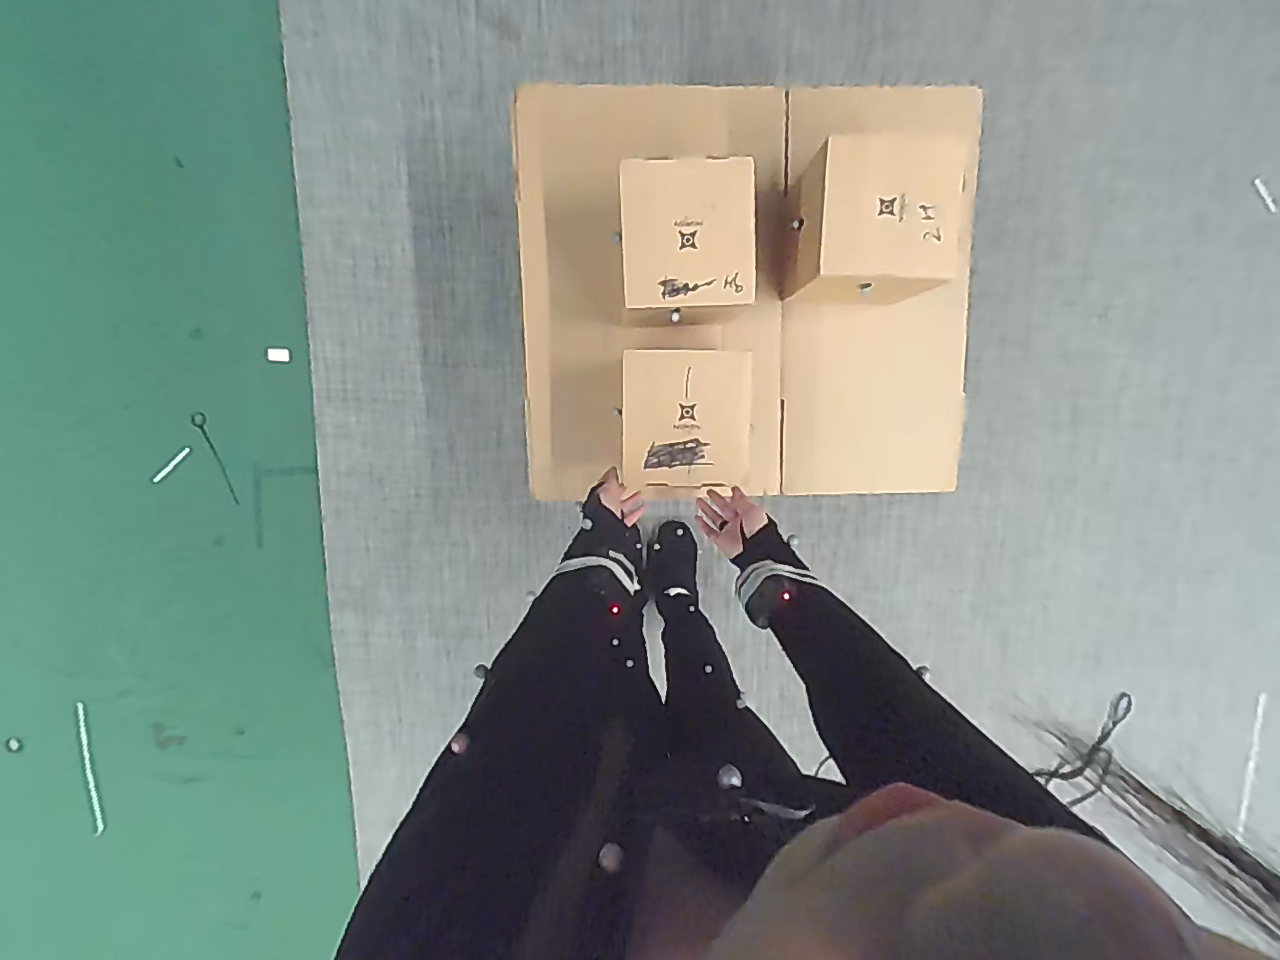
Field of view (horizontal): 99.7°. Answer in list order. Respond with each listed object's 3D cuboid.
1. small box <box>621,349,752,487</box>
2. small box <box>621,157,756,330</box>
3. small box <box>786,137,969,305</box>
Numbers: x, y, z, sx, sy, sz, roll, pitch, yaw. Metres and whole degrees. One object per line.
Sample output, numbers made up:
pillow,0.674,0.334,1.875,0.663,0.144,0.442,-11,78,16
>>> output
small box,0.057,-0.089,0.768,0.168,0.176,0.179,0,97,-2
small box,0.058,-0.309,0.739,0.168,0.176,0.179,-2,97,-1
small box,0.309,-0.341,0.743,0.179,0.176,0.168,2,98,0
